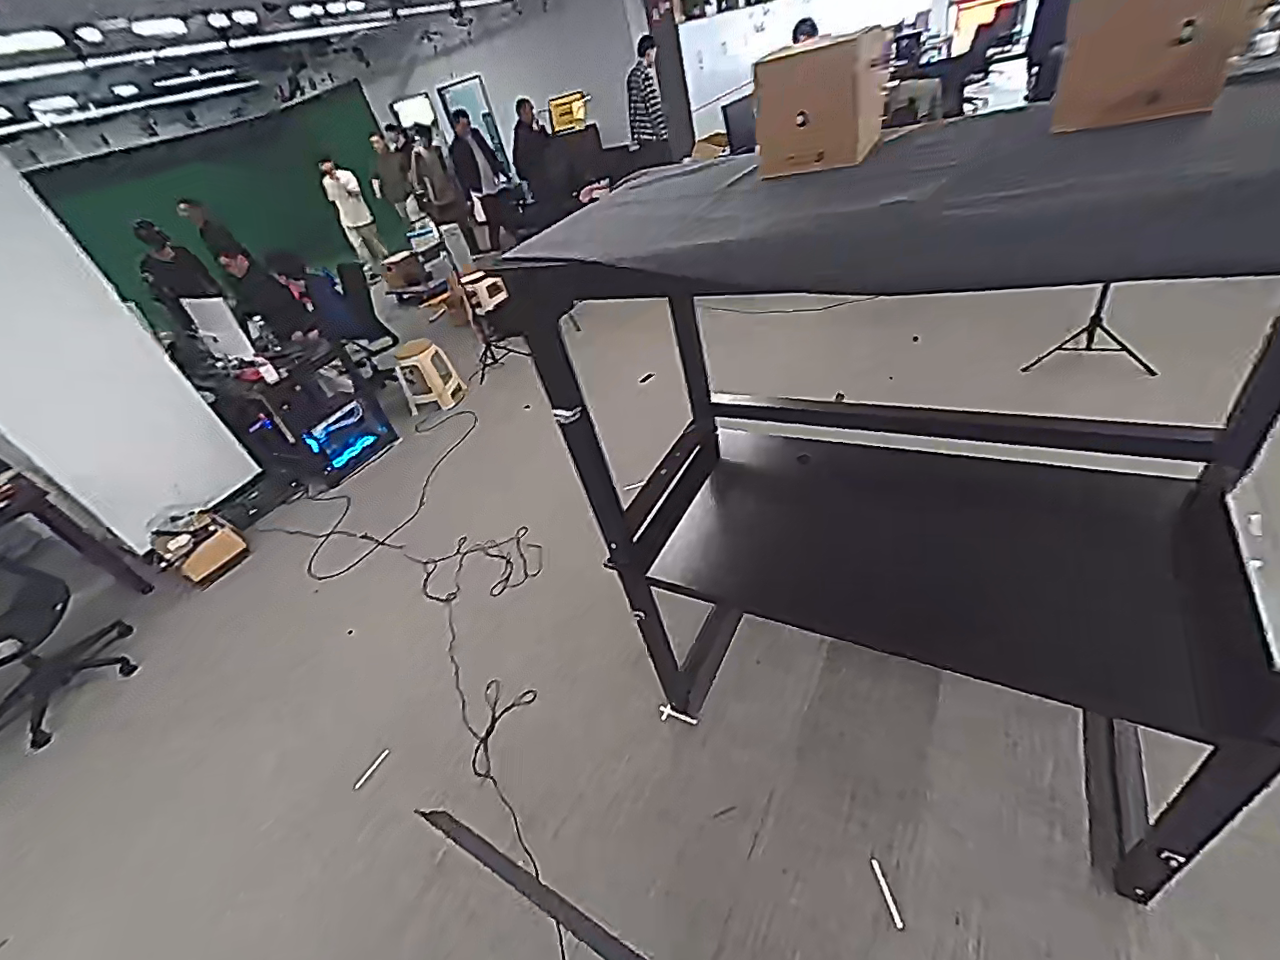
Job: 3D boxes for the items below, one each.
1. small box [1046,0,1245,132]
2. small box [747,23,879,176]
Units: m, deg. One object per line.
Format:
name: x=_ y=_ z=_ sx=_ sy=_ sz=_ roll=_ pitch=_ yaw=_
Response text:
small box: x=0.649 y=-0.568 z=0.698 sx=0.168 sy=0.176 sz=0.179 roll=15 pitch=47 yaw=34
small box: x=0.294 y=-0.623 z=0.901 sx=0.168 sy=0.176 sz=0.179 roll=10 pitch=45 yaw=30
